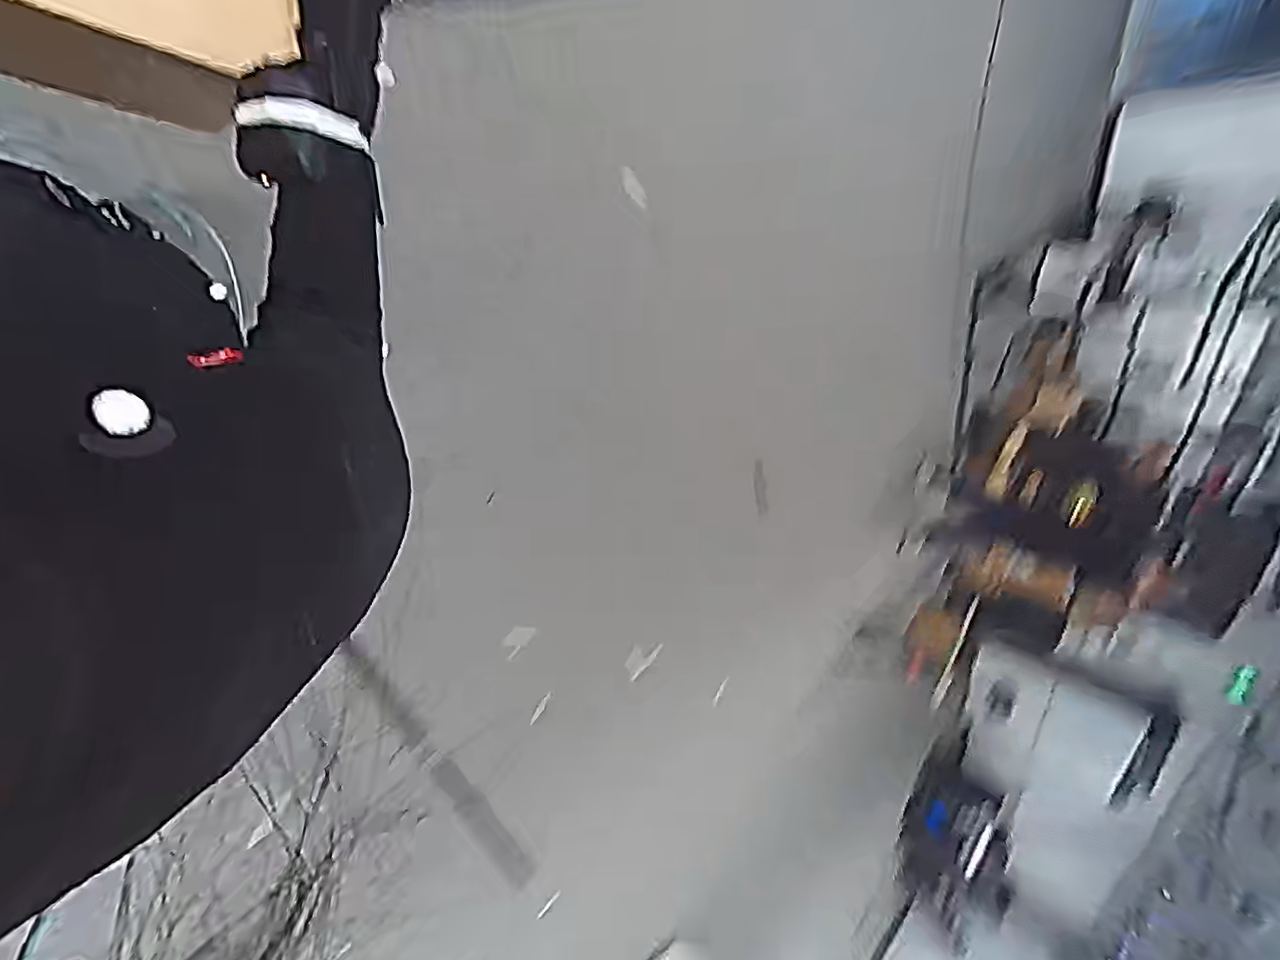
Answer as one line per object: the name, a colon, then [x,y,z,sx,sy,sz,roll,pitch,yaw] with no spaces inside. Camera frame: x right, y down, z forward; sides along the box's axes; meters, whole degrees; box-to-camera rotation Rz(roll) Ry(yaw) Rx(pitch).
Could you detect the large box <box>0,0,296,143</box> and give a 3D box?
large box: [-0.474,-0.441,0.311,0.408,0.320,0.320,-7,115,-46]
